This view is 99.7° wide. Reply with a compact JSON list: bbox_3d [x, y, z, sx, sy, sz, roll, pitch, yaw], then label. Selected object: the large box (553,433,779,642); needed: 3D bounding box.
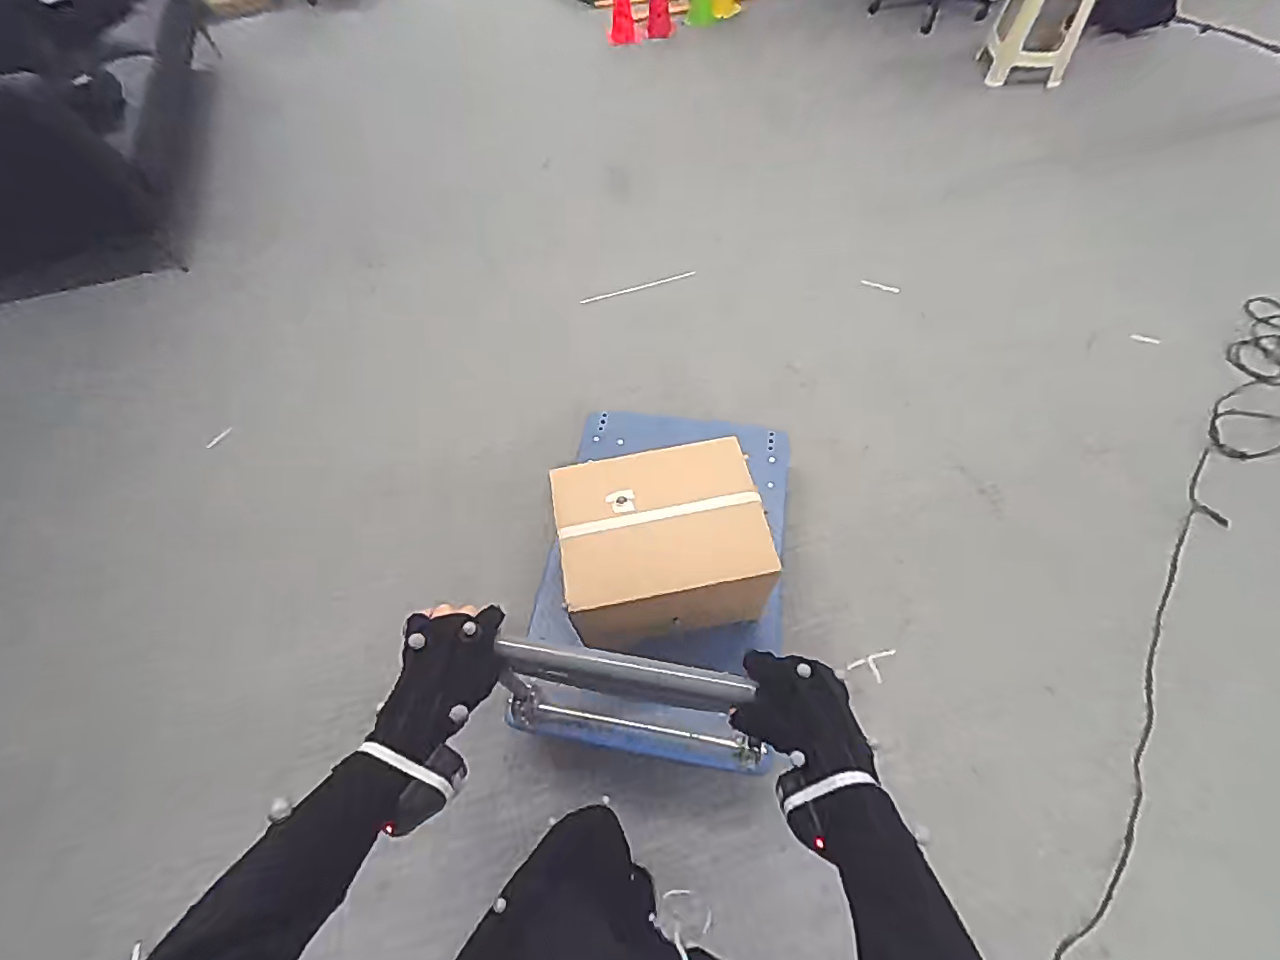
[{"bbox_3d":[0.048,0.138,1.199,0.408,0.320,0.320,-11,59,-2],"label":"large box"}]
